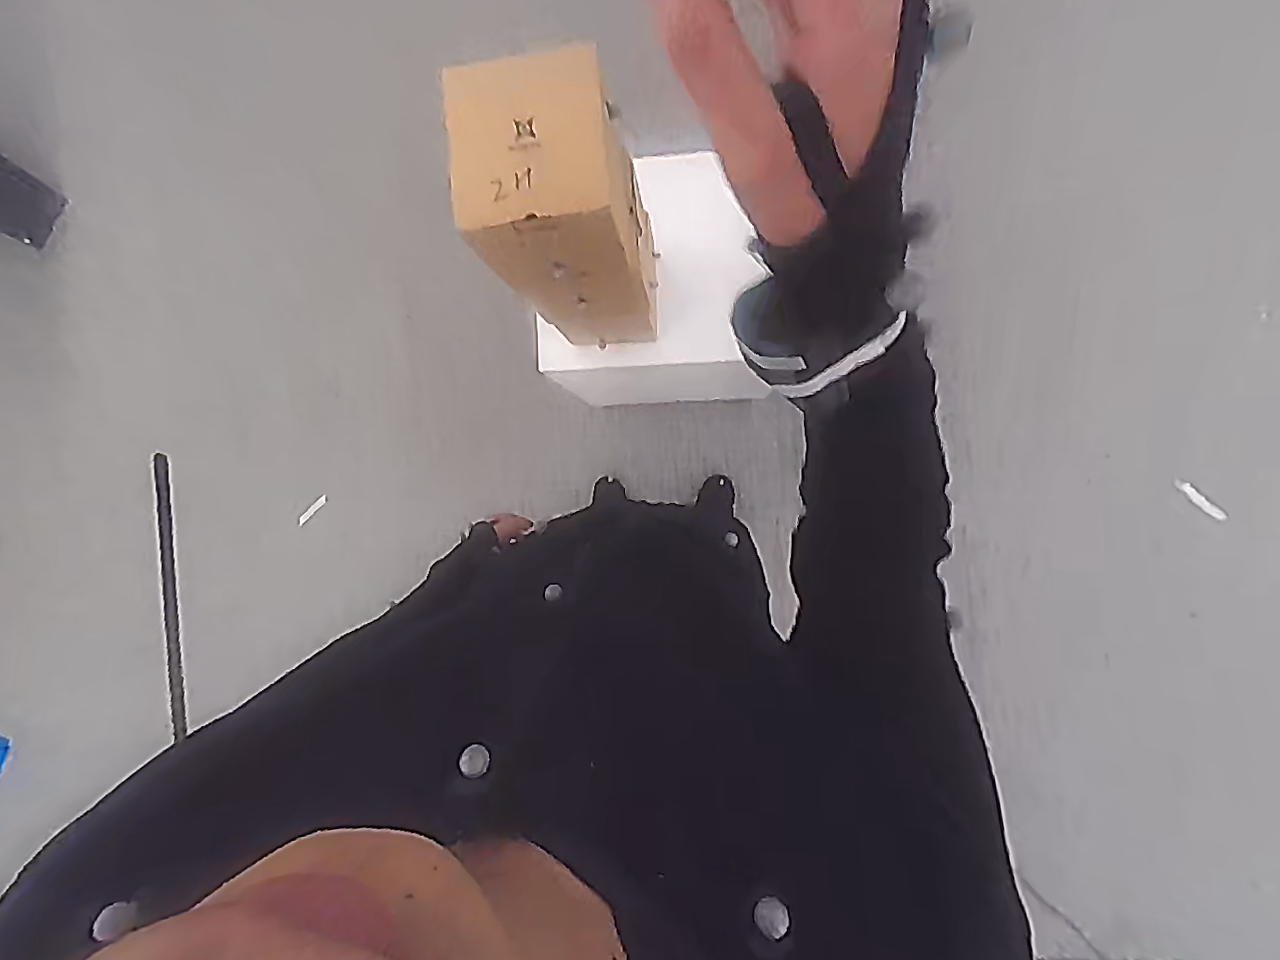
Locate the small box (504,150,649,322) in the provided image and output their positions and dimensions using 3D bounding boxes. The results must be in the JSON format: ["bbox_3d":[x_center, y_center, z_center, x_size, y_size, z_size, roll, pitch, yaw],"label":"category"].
[{"bbox_3d":[-0.081,-0.343,0.792,0.179,0.176,0.168,-5,89,7],"label":"small box"}]

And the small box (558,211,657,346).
[{"bbox_3d":[-0.058,-0.346,0.954,0.168,0.176,0.179,-1,90,6],"label":"small box"}]
